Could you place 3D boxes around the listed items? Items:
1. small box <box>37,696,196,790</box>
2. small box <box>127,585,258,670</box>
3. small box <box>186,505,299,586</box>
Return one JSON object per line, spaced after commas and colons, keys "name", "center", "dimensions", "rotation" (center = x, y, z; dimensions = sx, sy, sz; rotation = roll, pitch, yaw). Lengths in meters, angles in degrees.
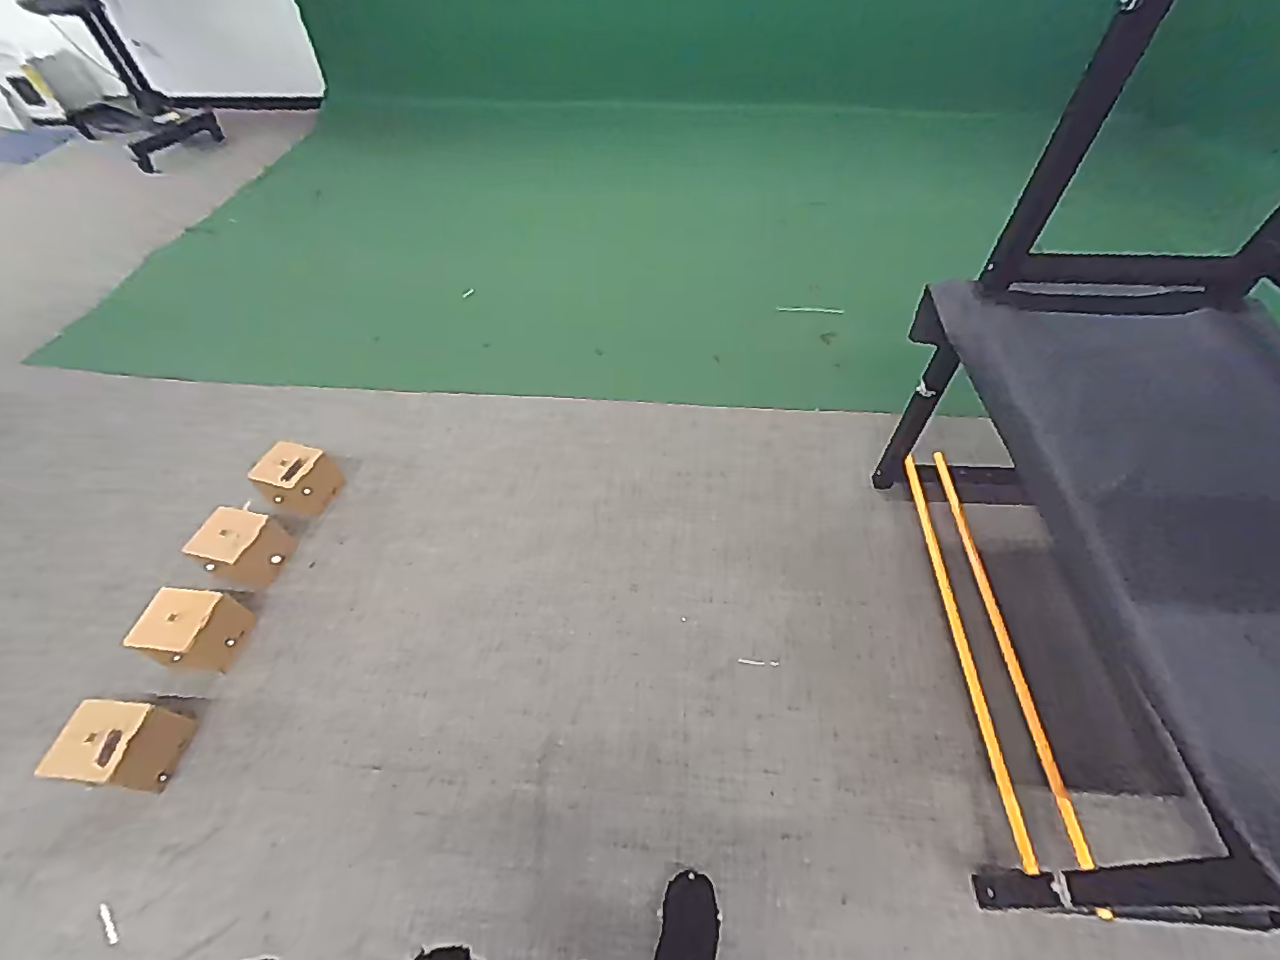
{"name": "small box", "center": [-1.226, 0.629, 1.287], "dimensions": [0.179, 0.176, 0.168], "rotation": [3, 51, 4]}
{"name": "small box", "center": [-1.202, 0.403, 1.469], "dimensions": [0.179, 0.176, 0.168], "rotation": [4, 52, 4]}
{"name": "small box", "center": [-1.186, 0.202, 1.628], "dimensions": [0.179, 0.176, 0.168], "rotation": [11, 53, 8]}
